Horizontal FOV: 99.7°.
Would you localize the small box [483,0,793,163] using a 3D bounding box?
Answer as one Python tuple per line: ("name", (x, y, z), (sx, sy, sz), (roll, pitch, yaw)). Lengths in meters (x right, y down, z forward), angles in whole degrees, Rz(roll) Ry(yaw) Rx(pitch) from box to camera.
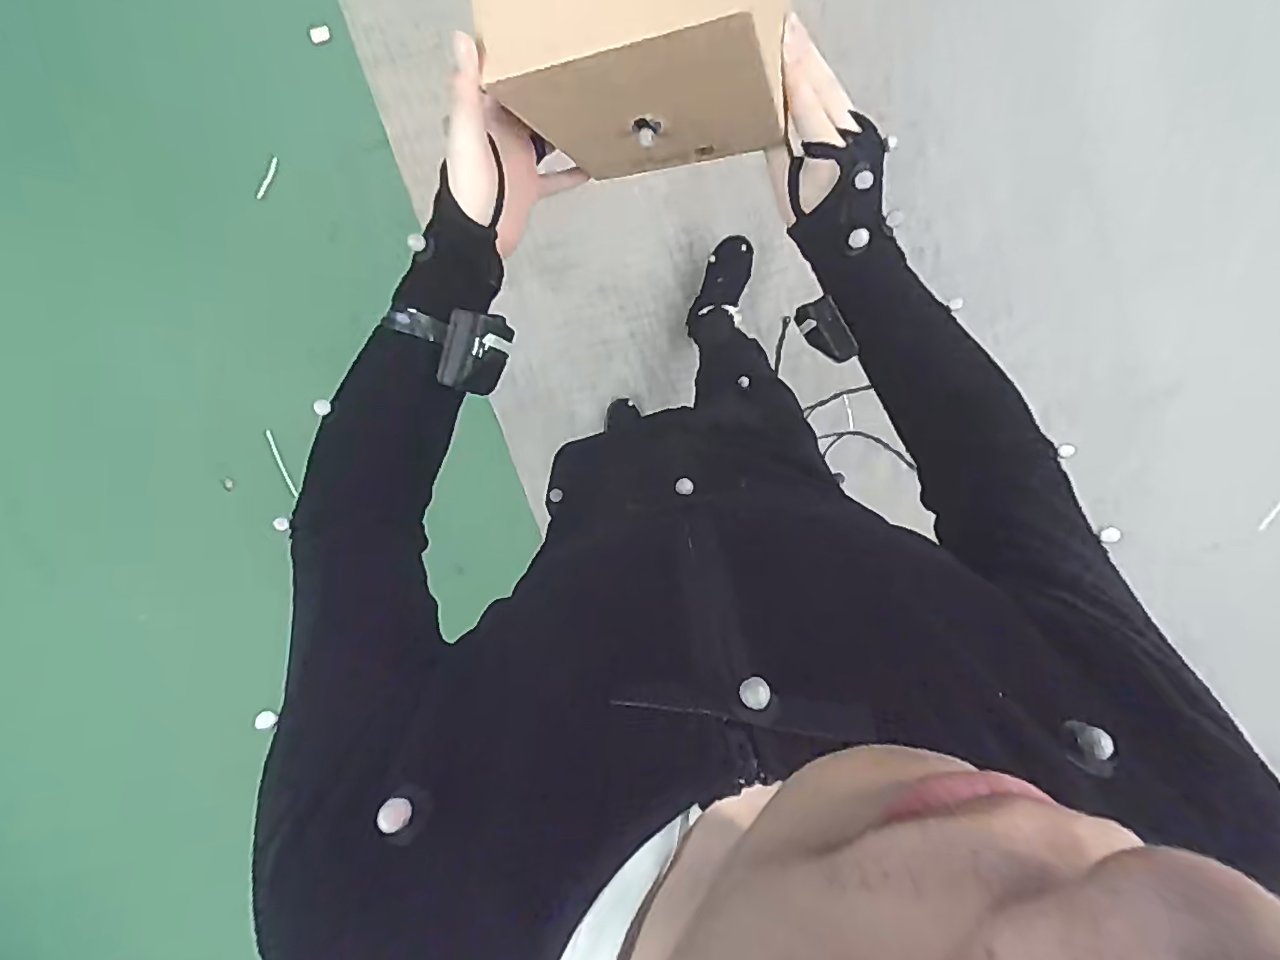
("small box", (0.012, -0.338, 0.362), (0.168, 0.176, 0.179), (2, 99, 20))
